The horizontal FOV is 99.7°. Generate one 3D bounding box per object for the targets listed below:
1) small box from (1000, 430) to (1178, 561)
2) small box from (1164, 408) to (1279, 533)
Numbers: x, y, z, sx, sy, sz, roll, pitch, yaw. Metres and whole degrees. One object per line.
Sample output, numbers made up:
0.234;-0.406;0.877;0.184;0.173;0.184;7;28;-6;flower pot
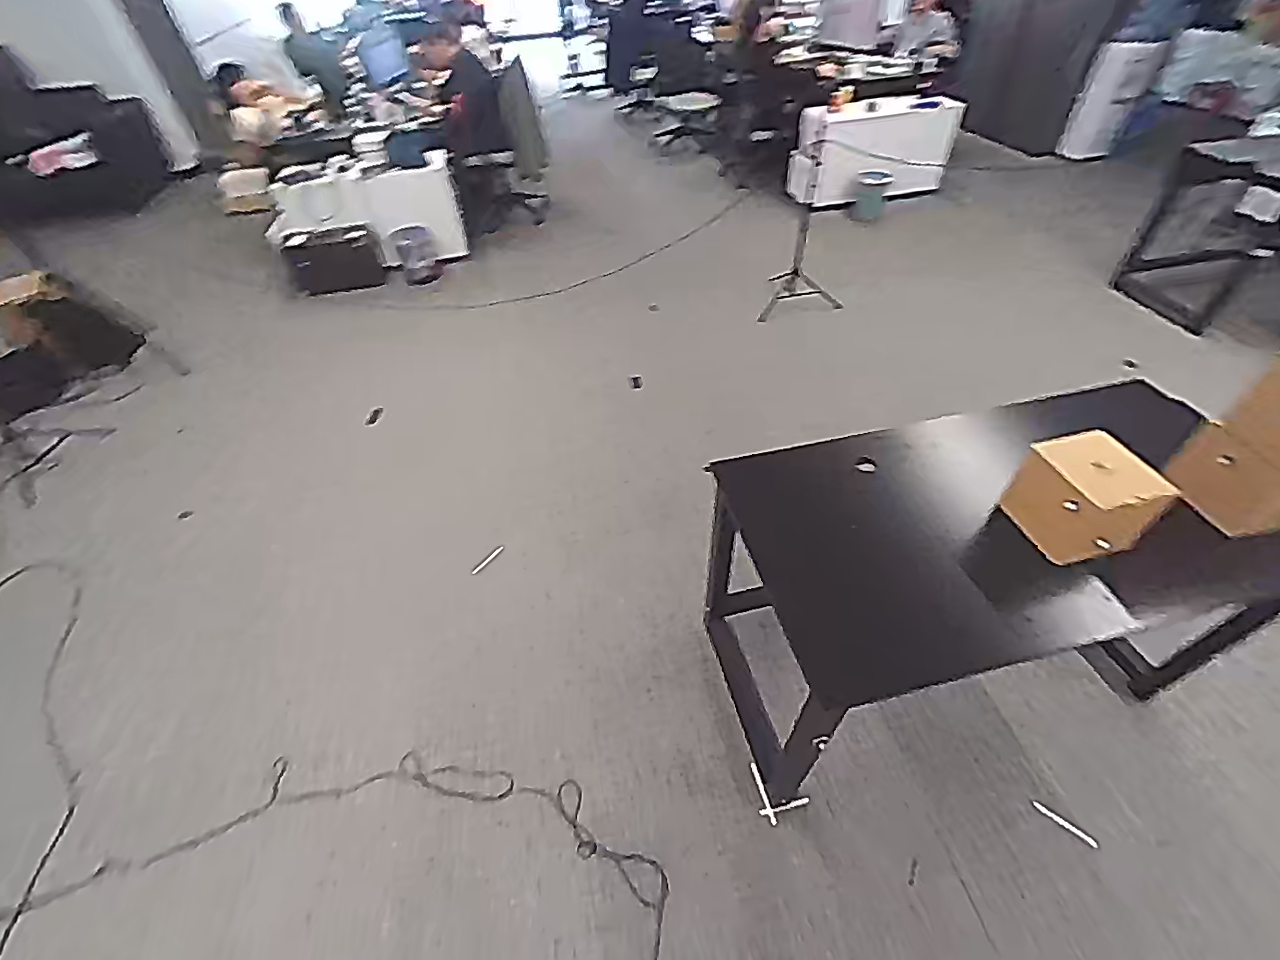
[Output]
0.862;0.031;1.064;0.168;0.176;0.179;-12;47;-8;small box
1.231;-0.018;1.082;0.168;0.176;0.179;-9;46;-3;small box
